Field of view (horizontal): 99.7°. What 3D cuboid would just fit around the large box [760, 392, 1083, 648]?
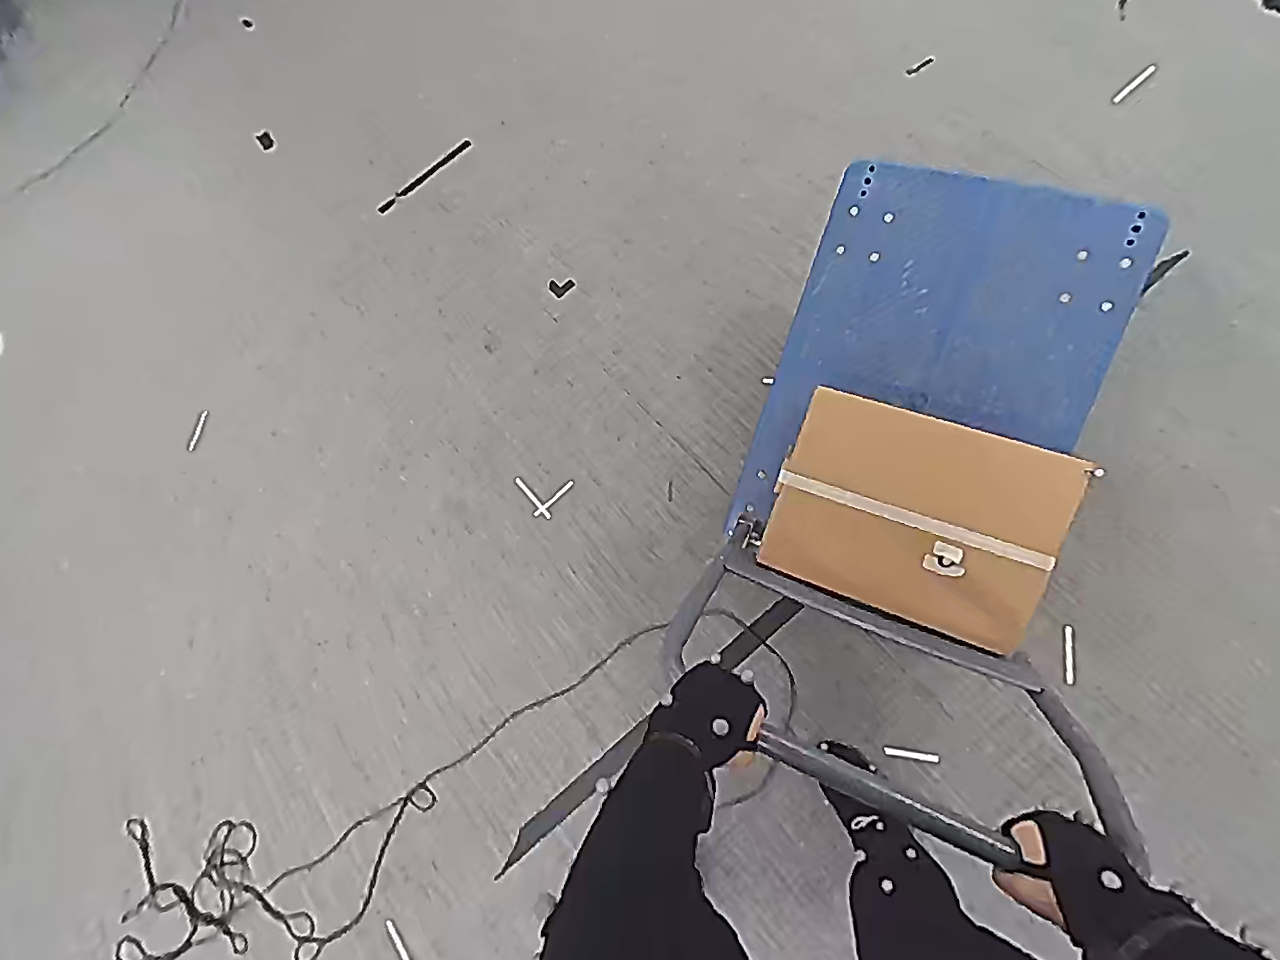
[{"bbox_3d":[0.470,0.049,1.006,0.408,0.320,0.320,20,100,15],"label":"large box"}]
